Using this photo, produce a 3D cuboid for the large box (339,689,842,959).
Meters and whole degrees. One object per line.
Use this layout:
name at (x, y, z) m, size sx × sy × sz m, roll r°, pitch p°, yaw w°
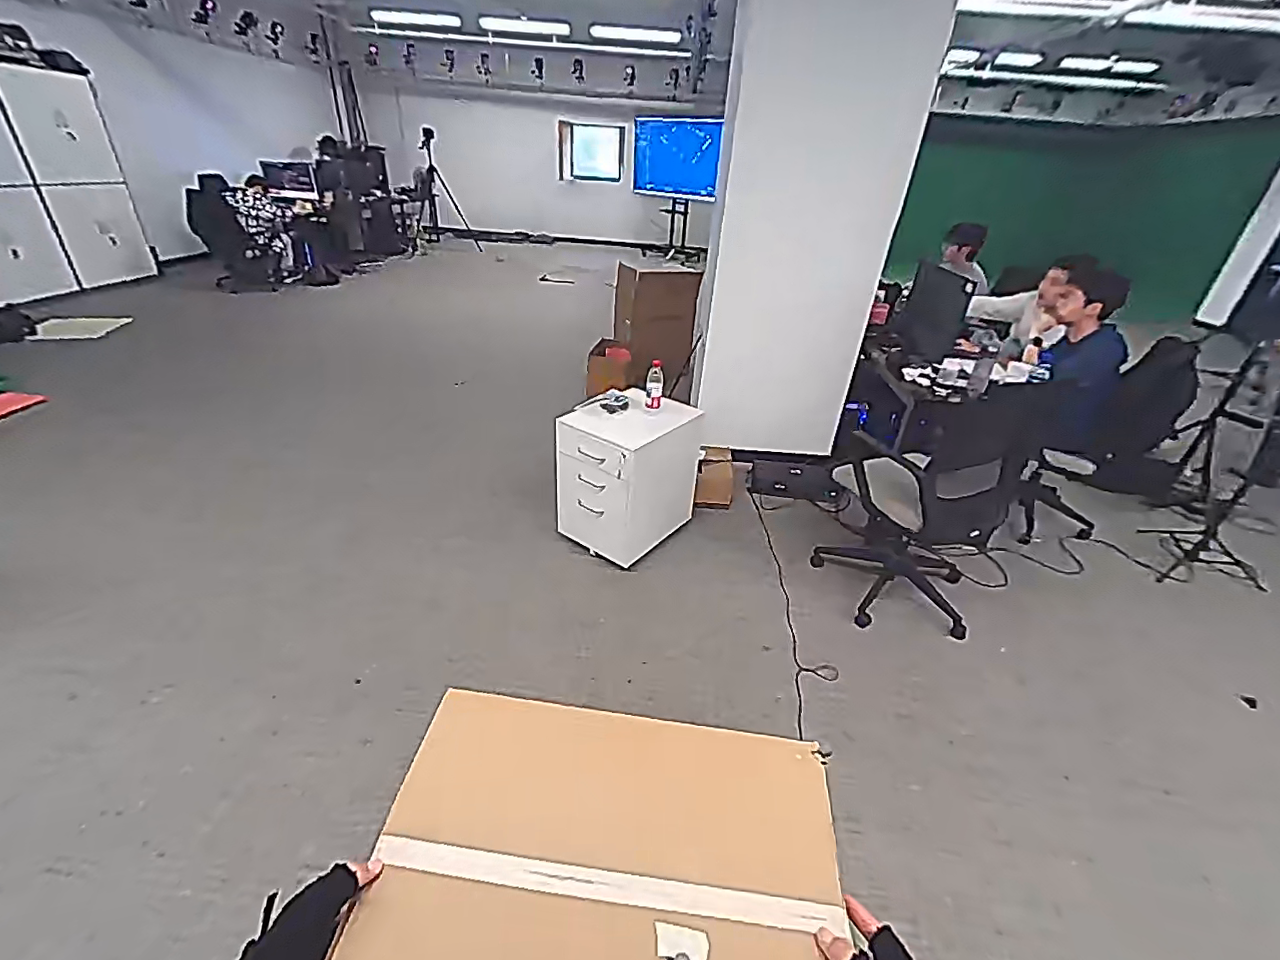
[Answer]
large box at (-0.040, 0.465, 0.563) m, size 0.408 × 0.320 × 0.320 m, roll 8°, pitch 37°, yaw 3°
